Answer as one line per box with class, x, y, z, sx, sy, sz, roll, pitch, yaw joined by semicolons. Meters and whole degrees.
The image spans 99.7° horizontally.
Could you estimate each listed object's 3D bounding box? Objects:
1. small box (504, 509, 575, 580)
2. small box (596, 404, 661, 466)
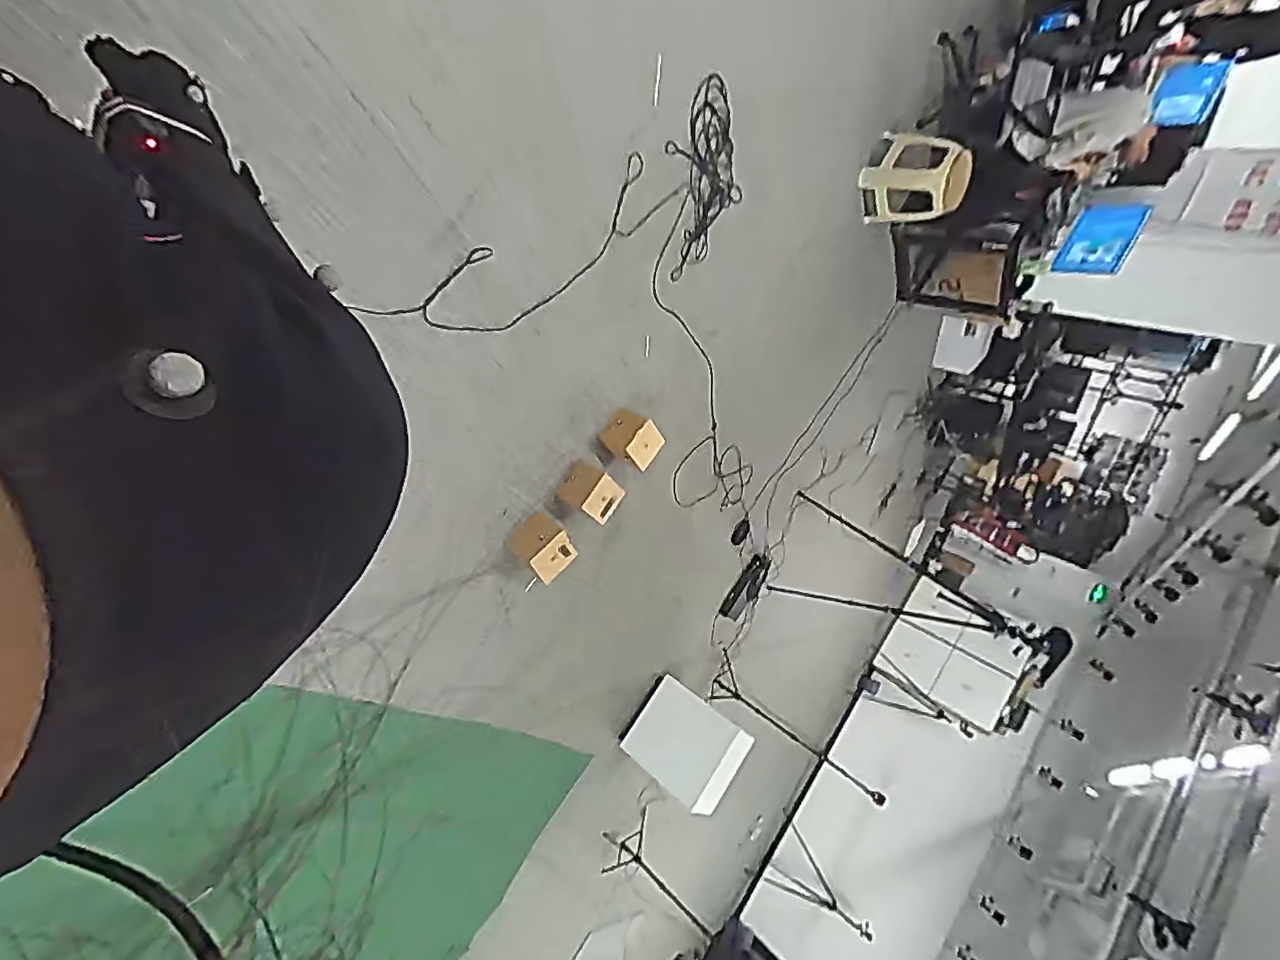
small box;-0.386;0.241;2.075;0.179;0.176;0.168;-44;139;-22
small box;-0.047;-0.190;2.231;0.168;0.176;0.179;-55;143;-12
